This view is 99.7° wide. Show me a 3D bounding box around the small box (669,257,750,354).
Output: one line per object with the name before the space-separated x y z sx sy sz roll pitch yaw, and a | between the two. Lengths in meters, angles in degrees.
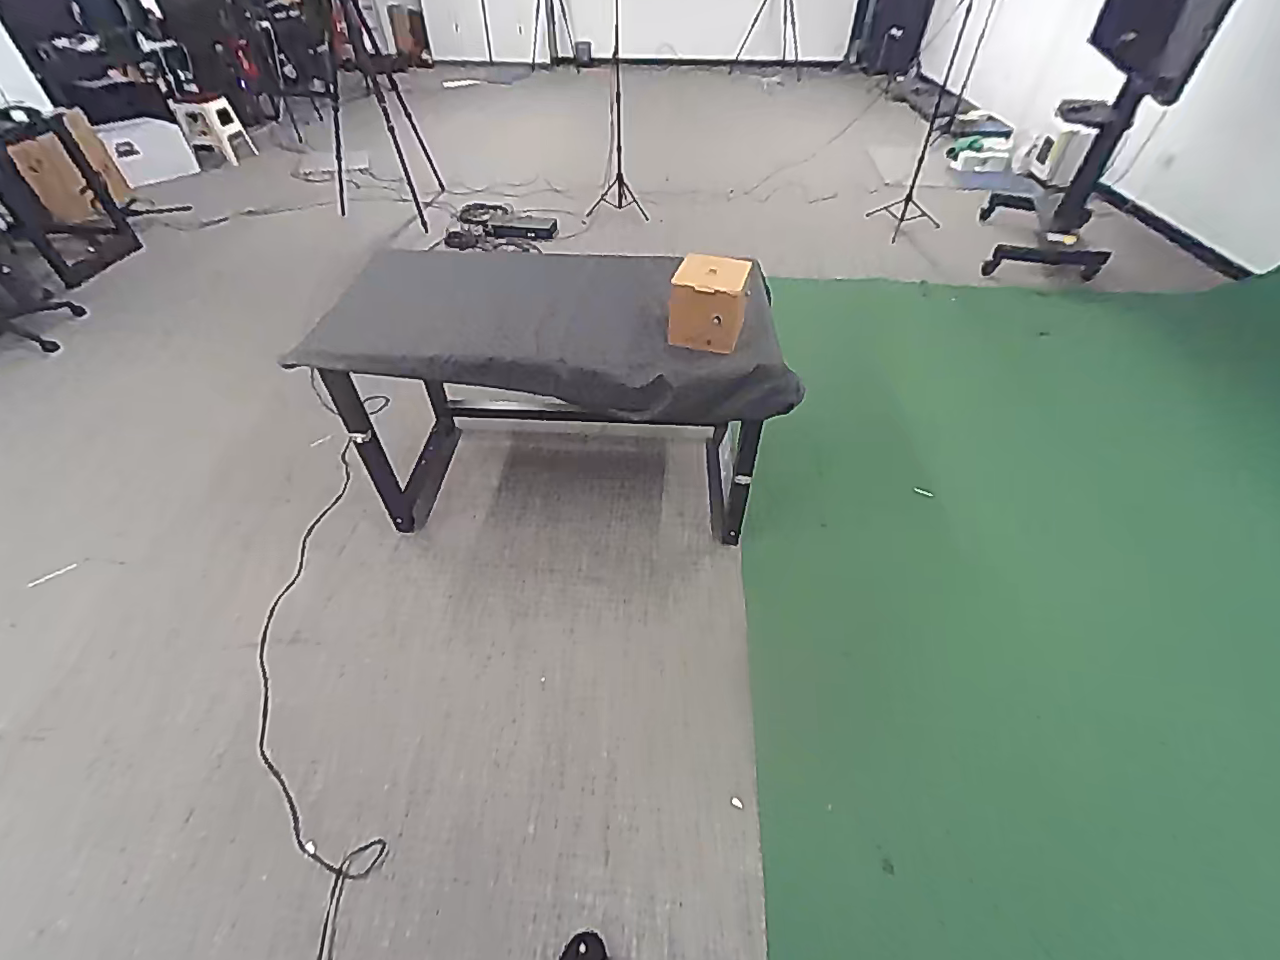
small box | 0.172 -0.436 1.353 0.168 0.176 0.179 13 45 11
